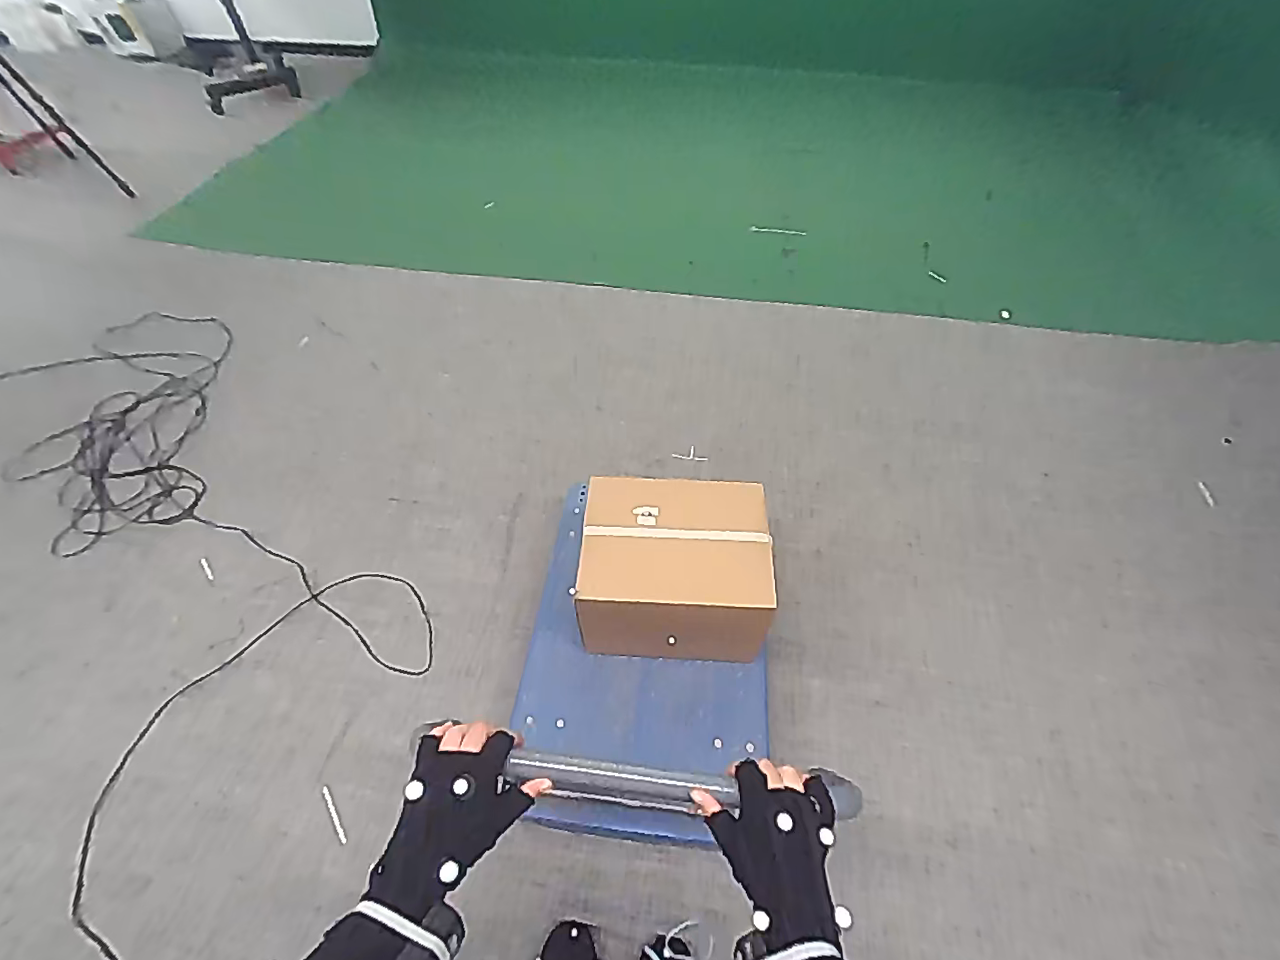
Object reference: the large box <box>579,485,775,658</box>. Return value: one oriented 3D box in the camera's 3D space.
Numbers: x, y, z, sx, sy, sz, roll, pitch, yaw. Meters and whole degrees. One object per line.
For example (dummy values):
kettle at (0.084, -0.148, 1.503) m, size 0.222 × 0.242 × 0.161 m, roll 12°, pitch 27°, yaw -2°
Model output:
large box at (0.081, 0.225, 1.294) m, size 0.408 × 0.320 × 0.320 m, roll 1°, pitch 52°, yaw 2°
